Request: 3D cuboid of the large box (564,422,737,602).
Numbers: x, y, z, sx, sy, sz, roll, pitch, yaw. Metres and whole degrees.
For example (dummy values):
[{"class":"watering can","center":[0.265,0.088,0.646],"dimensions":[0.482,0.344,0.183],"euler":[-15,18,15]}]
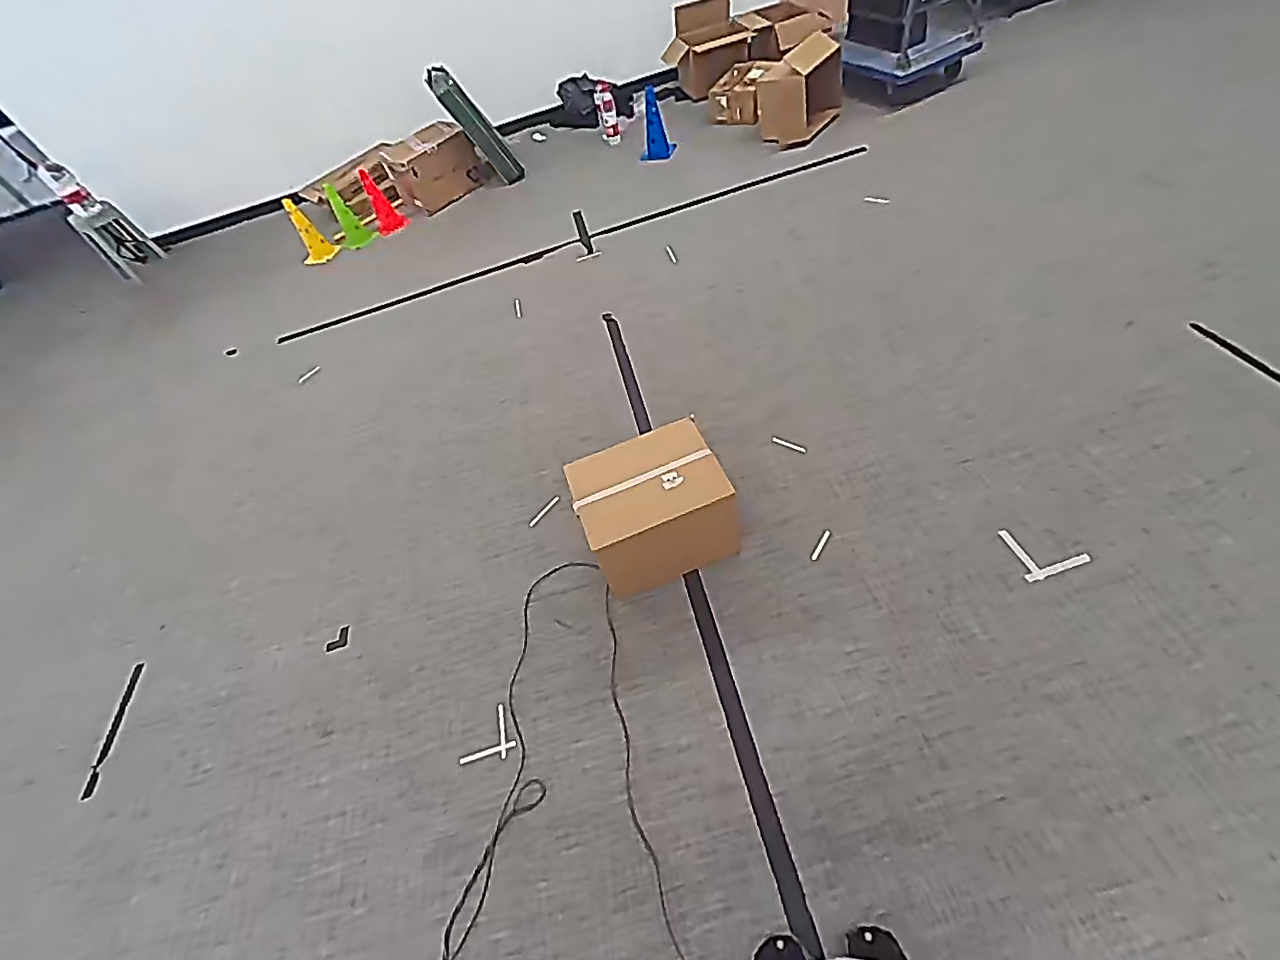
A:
[{"class":"large box","center":[0.036,0.098,1.594],"dimensions":[0.408,0.320,0.320],"euler":[-22,52,-4]}]
